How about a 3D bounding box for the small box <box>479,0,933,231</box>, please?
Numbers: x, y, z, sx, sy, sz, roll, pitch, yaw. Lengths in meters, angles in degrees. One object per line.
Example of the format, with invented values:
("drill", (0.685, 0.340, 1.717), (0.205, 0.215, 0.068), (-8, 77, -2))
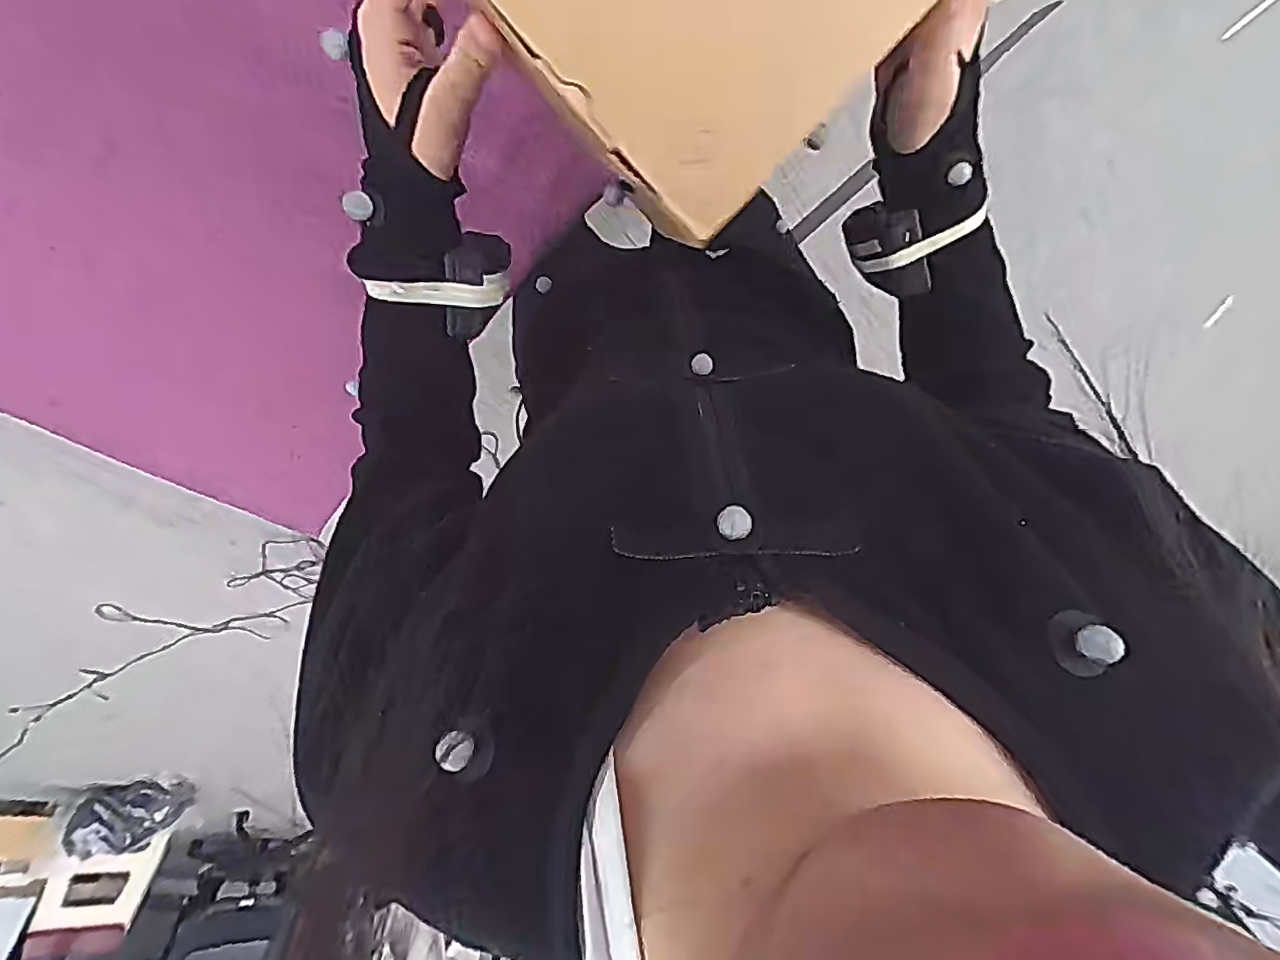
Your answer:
("small box", (0.029, -0.255, 0.276), (0.168, 0.176, 0.179), (39, 106, -22))
